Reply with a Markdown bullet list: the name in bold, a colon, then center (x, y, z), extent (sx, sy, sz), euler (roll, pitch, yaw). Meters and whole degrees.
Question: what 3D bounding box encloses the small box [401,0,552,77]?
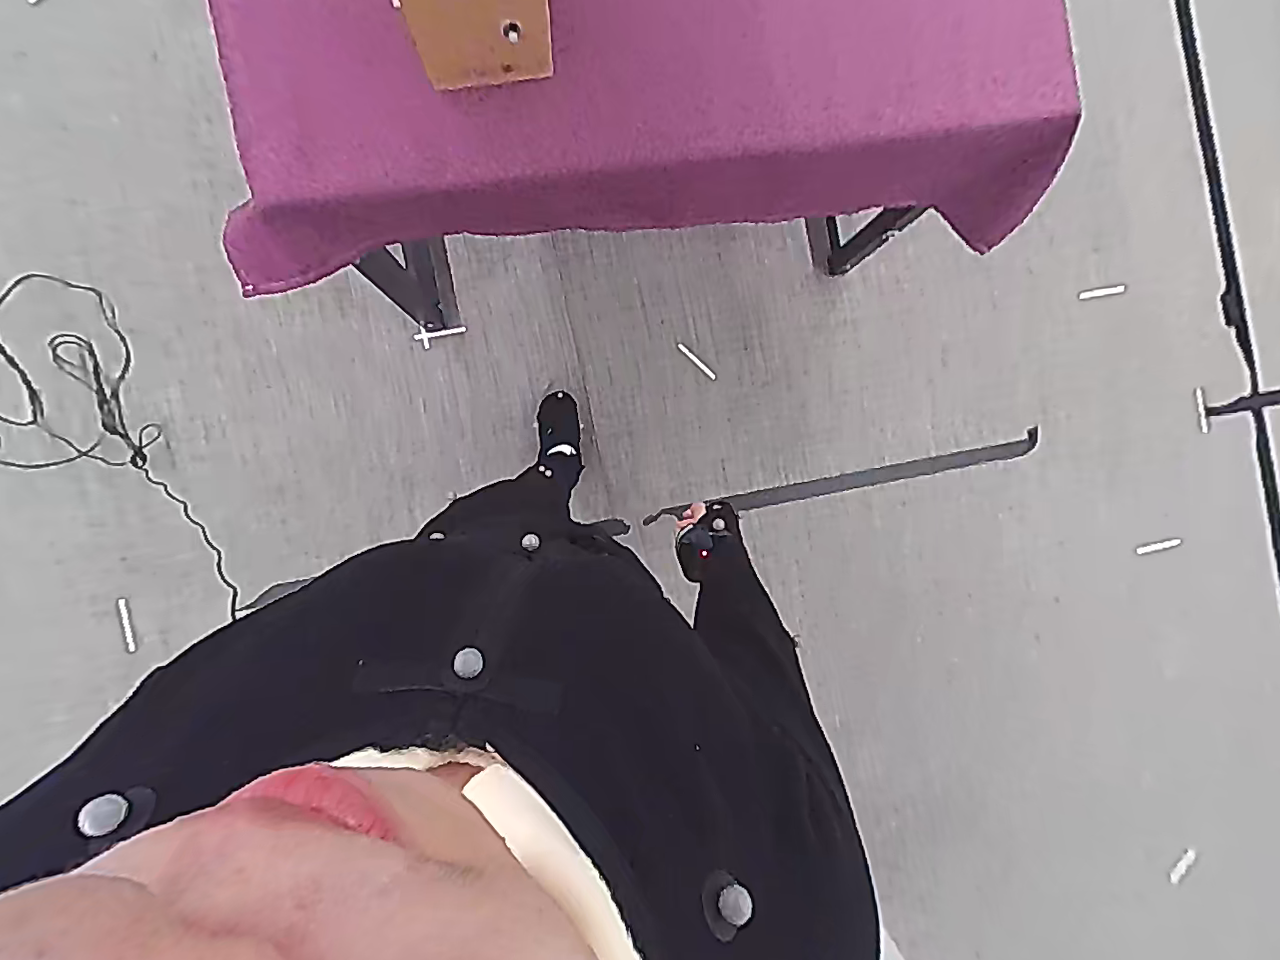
- **small box**: center (-0.205, -0.630, 0.657), extent (0.168, 0.176, 0.179), euler (-11, 92, -6)
